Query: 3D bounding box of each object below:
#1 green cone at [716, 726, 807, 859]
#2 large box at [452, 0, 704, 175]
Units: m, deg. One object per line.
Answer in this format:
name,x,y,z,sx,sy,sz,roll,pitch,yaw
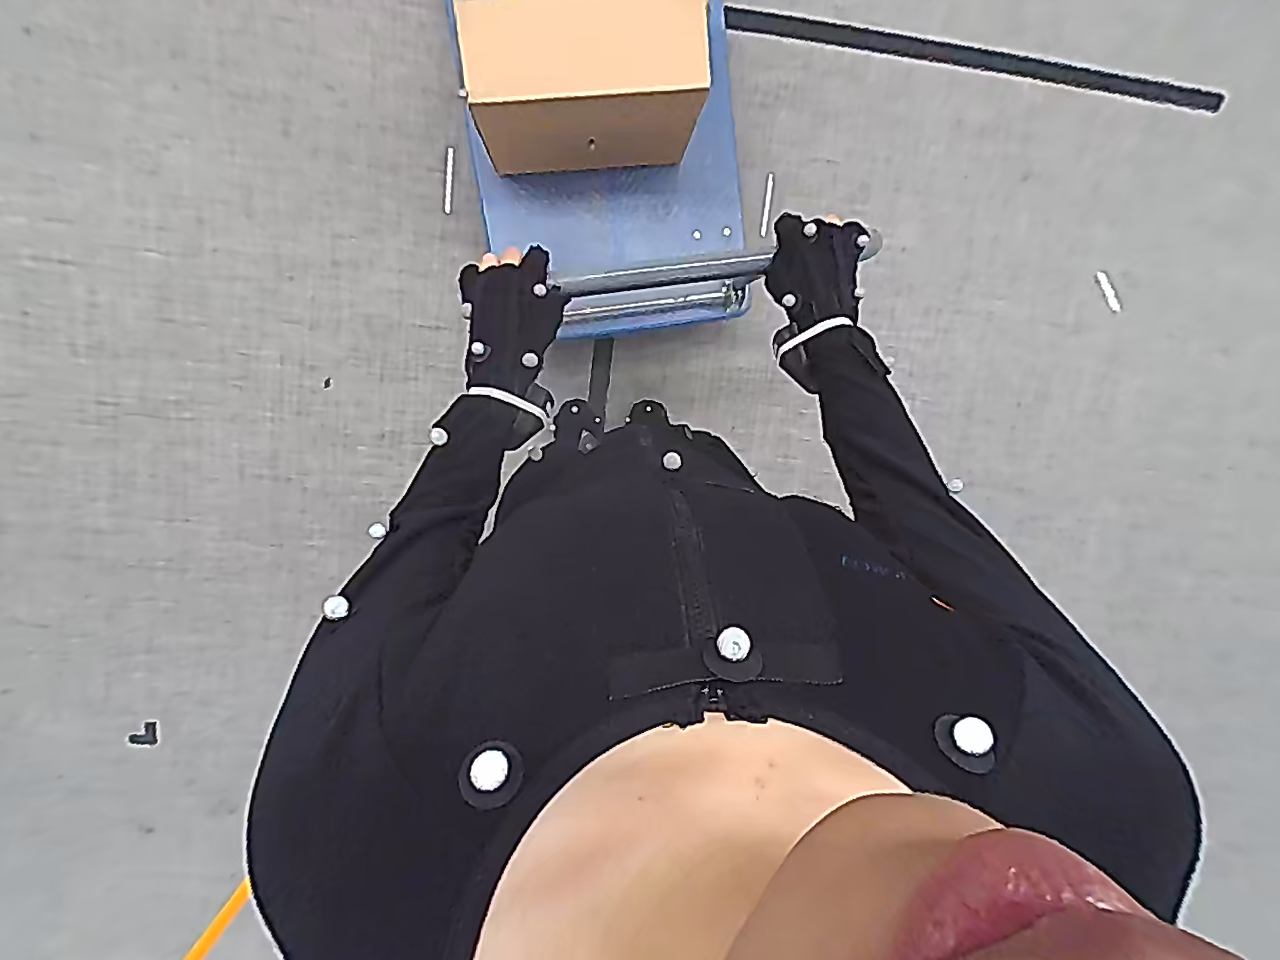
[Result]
green cone,0.359,0.872,1.476,0.202,0.368,0.200,9,98,-8
large box,-0.113,-0.810,1.023,0.408,0.320,0.320,-7,100,-3
